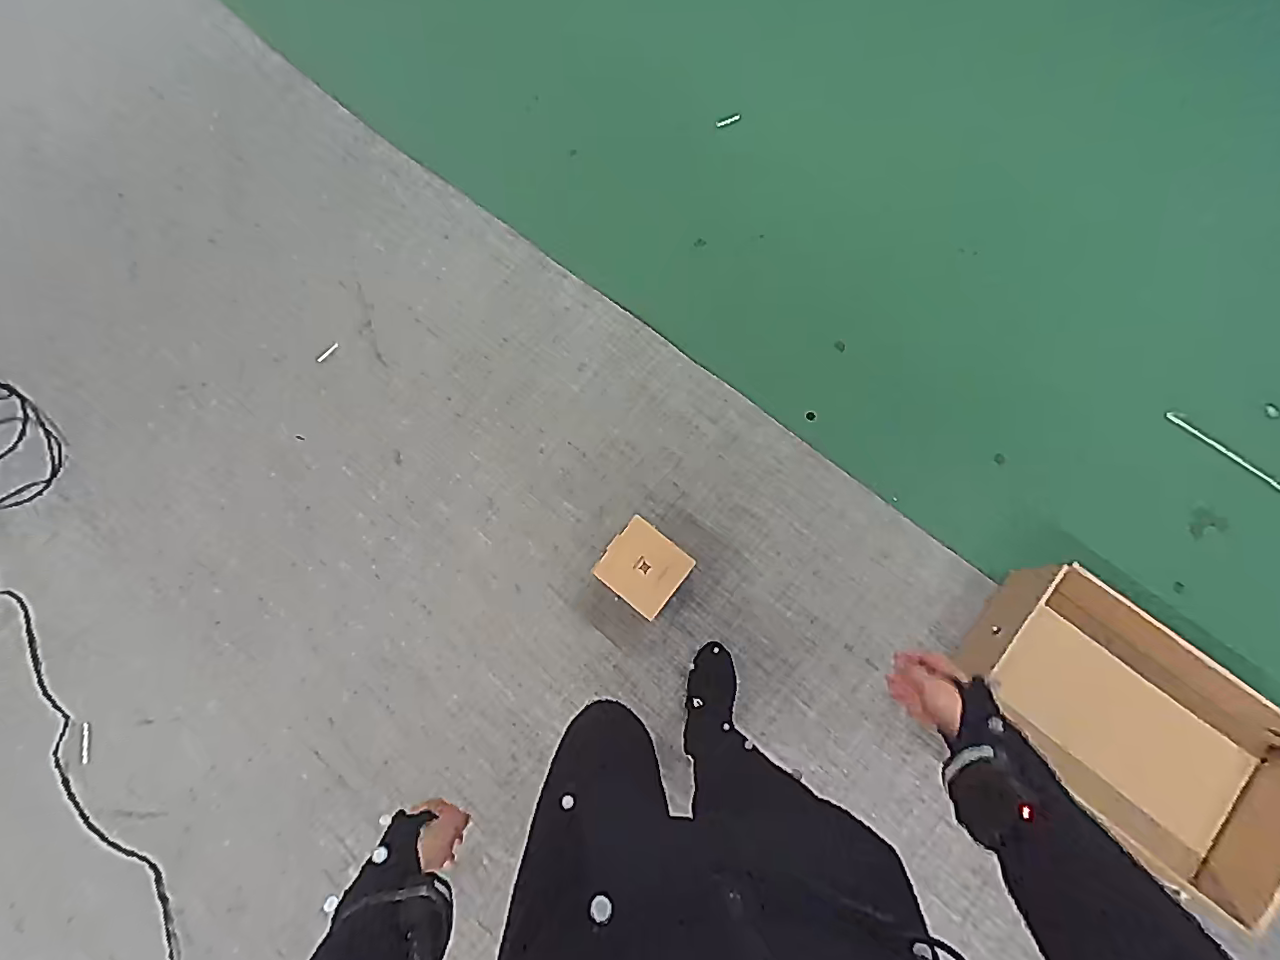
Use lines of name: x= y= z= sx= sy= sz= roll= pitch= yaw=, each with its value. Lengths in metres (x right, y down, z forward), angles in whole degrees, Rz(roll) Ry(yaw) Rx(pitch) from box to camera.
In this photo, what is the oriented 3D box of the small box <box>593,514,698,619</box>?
small box: x=0.012 y=0.204 z=1.256 sx=0.179 sy=0.176 sz=0.168 roll=38 pitch=82 yaw=8
